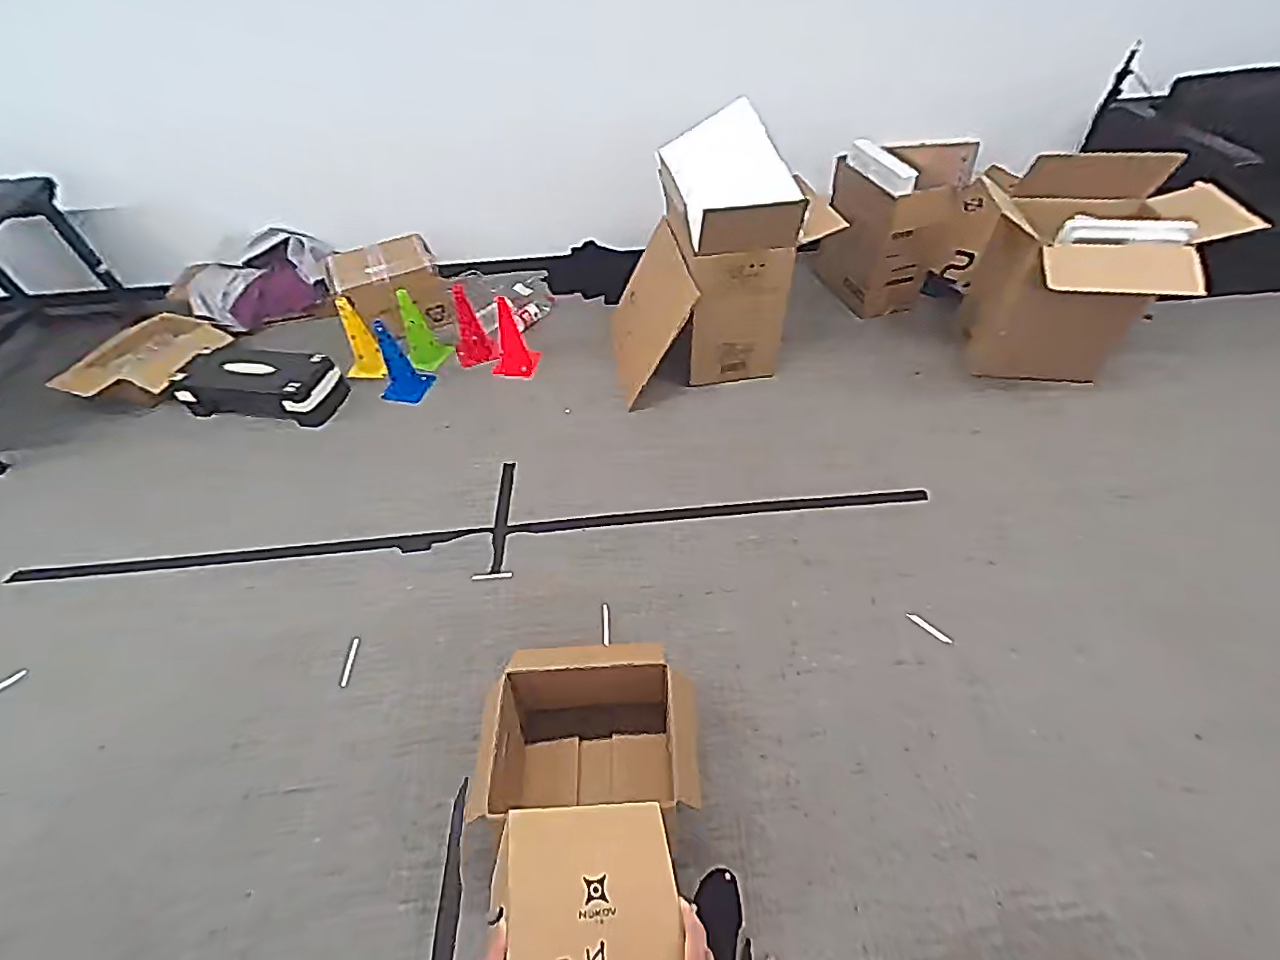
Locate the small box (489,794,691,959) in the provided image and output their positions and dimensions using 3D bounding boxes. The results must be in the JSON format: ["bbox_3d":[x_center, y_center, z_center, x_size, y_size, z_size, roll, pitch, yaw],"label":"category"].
[{"bbox_3d":[-0.062,0.453,0.548,0.168,0.176,0.179,6,32,-16],"label":"small box"}]
